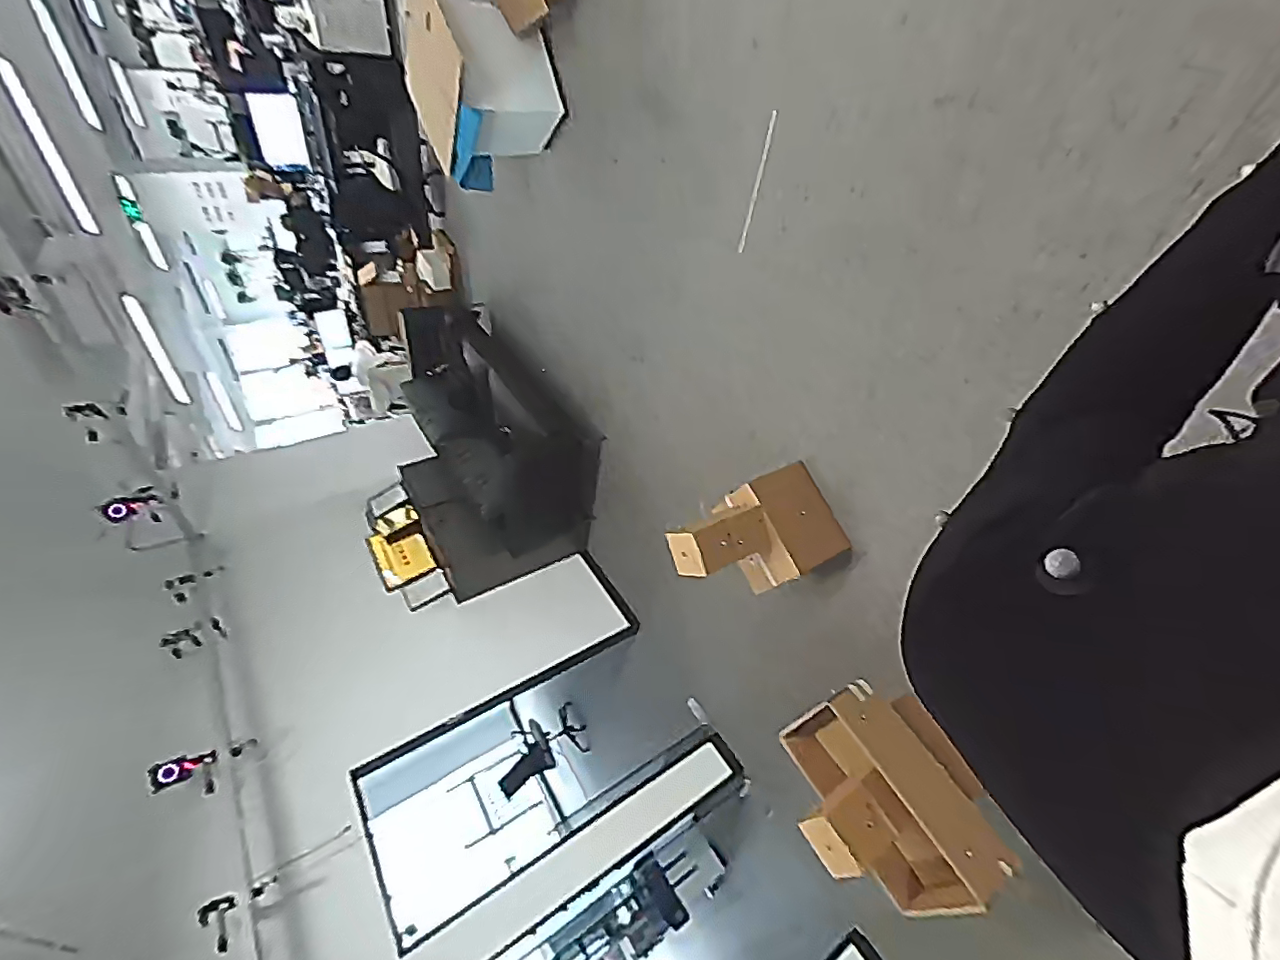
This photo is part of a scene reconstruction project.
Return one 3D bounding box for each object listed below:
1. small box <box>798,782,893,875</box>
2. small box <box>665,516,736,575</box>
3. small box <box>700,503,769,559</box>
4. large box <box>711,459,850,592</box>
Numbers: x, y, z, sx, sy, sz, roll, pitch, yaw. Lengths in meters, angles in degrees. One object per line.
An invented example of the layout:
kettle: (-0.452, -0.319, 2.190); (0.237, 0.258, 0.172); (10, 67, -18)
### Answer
small box: (0.619, 1.046, 1.627); (0.168, 0.176, 0.179); (53, 146, 26)
small box: (0.225, 0.240, 1.999); (0.179, 0.176, 0.168); (-12, 97, 59)
small box: (0.362, 0.194, 2.081); (0.179, 0.176, 0.168); (-11, 98, 60)
large box: (0.570, 0.186, 2.230); (0.408, 0.320, 0.320); (61, 150, 13)
